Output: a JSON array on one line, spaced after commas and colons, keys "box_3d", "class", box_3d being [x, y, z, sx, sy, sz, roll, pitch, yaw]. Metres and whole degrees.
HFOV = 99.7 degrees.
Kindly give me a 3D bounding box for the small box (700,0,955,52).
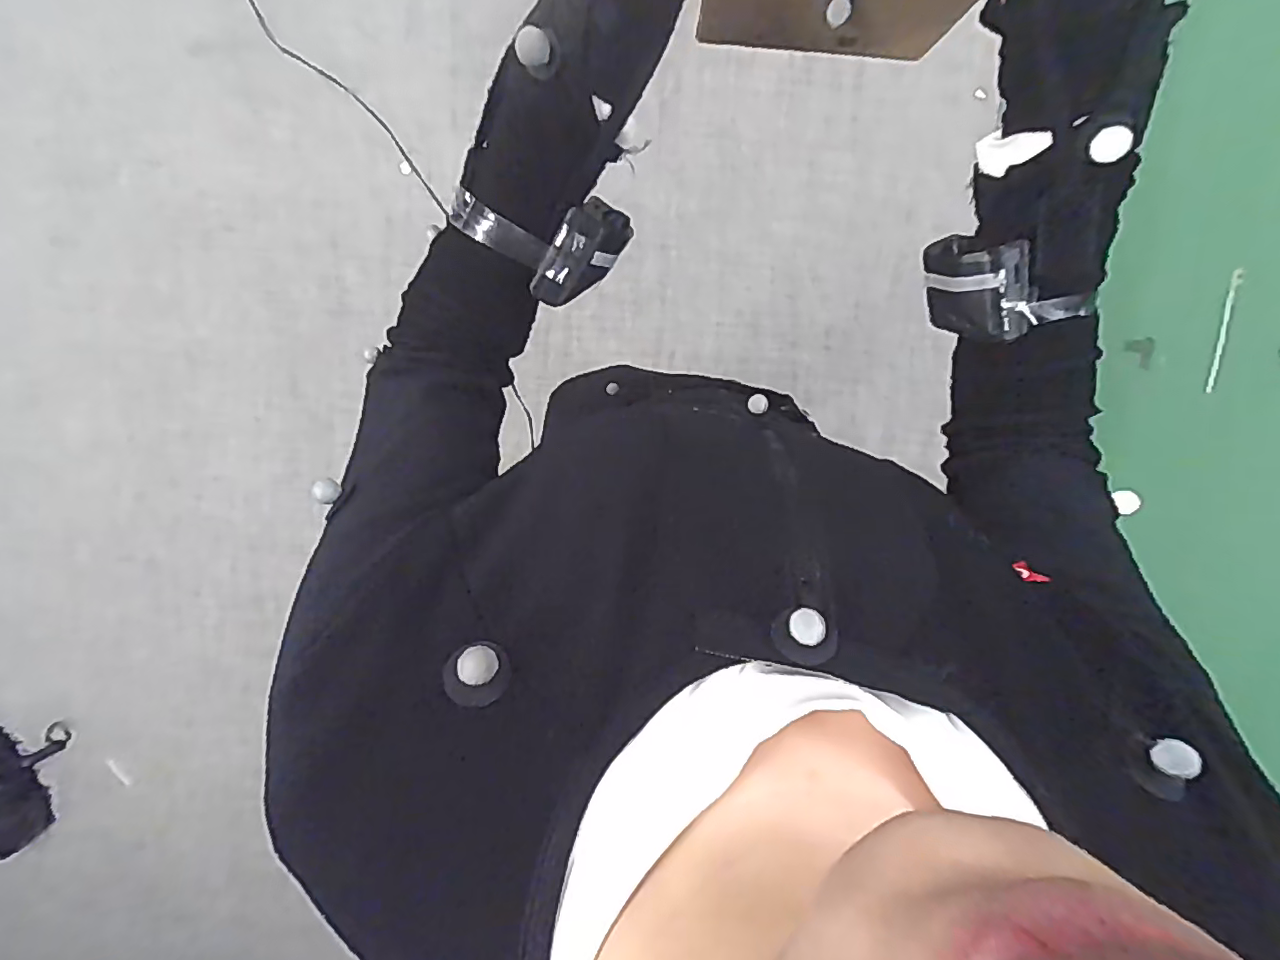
[{"box_3d": [0.124, -0.373, 0.294, 0.168, 0.176, 0.179, 5, 107, 1], "class": "small box"}]
